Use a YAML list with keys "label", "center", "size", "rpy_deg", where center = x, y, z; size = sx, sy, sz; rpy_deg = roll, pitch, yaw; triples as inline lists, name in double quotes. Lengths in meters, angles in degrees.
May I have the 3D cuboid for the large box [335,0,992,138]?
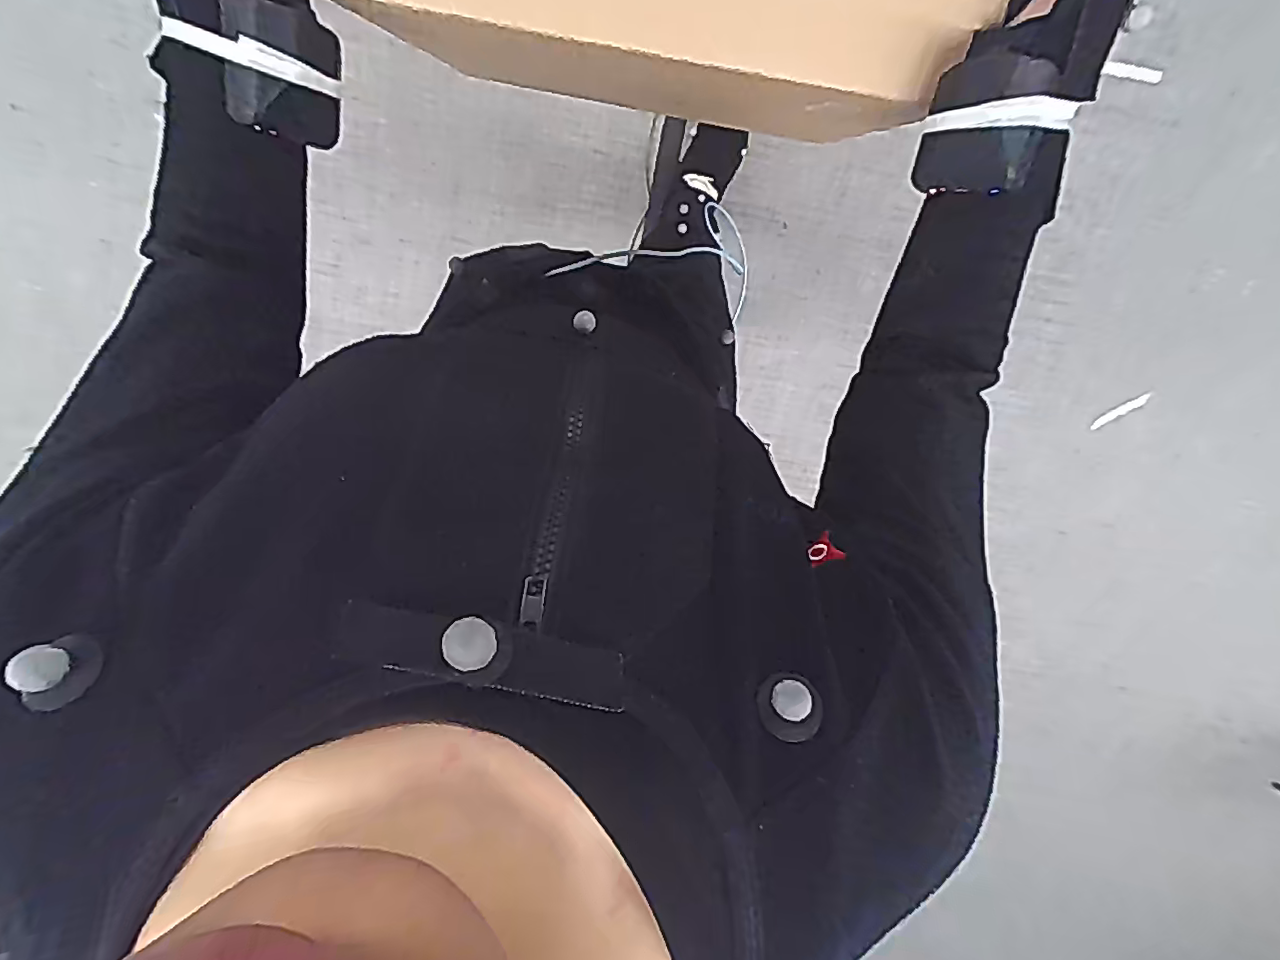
- label: "large box"
  center: [0.026, -0.466, 0.391]
  size: [0.408, 0.320, 0.320]
  rpy_deg: [7, 120, -4]
